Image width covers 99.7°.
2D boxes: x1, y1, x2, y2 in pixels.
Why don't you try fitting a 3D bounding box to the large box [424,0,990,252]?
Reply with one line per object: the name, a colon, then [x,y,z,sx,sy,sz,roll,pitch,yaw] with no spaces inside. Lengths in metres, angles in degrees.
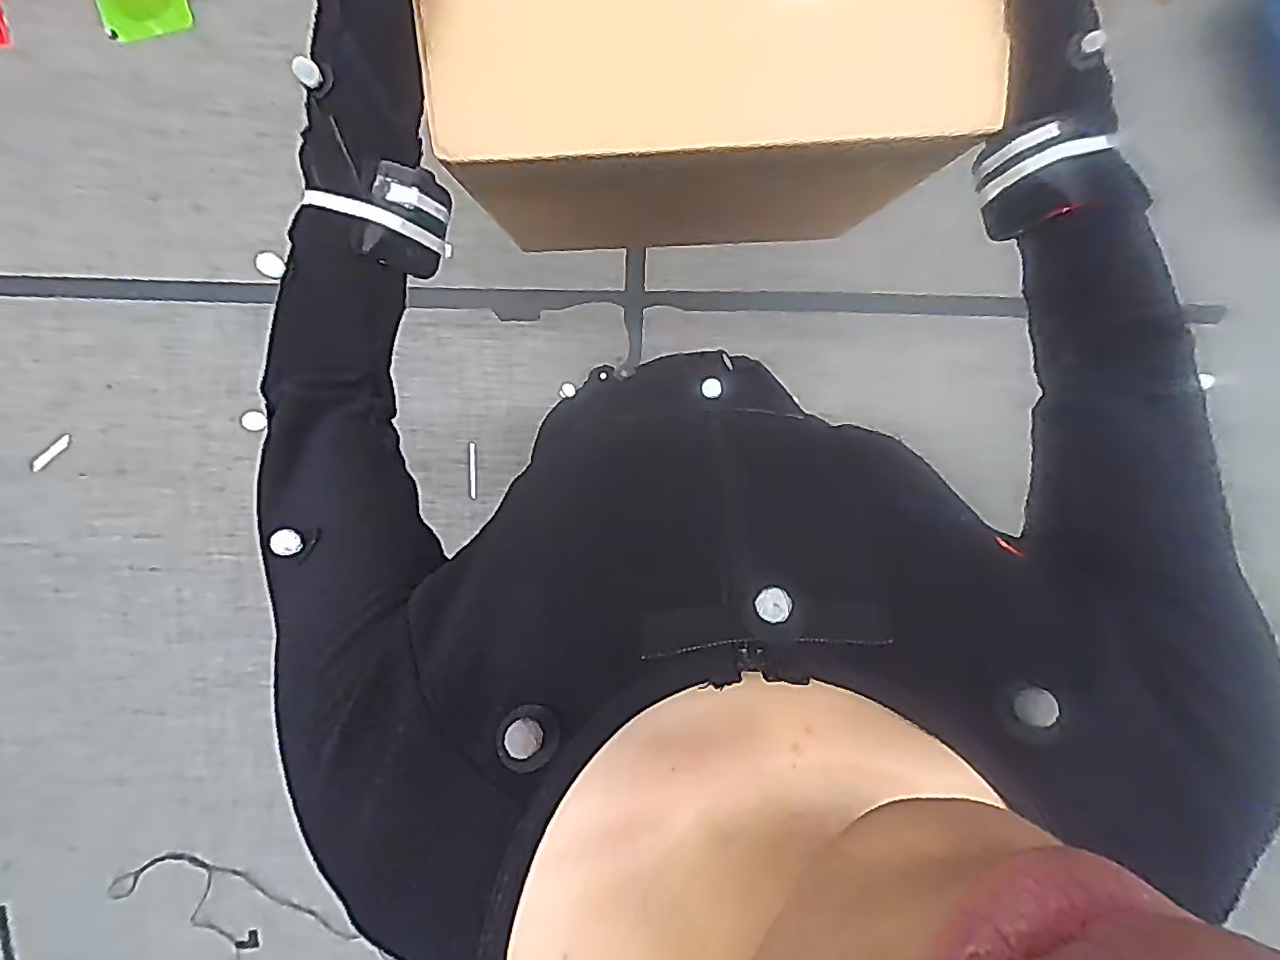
large box: [0.040,-0.423,0.511,0.408,0.320,0.320,-3,101,-1]
